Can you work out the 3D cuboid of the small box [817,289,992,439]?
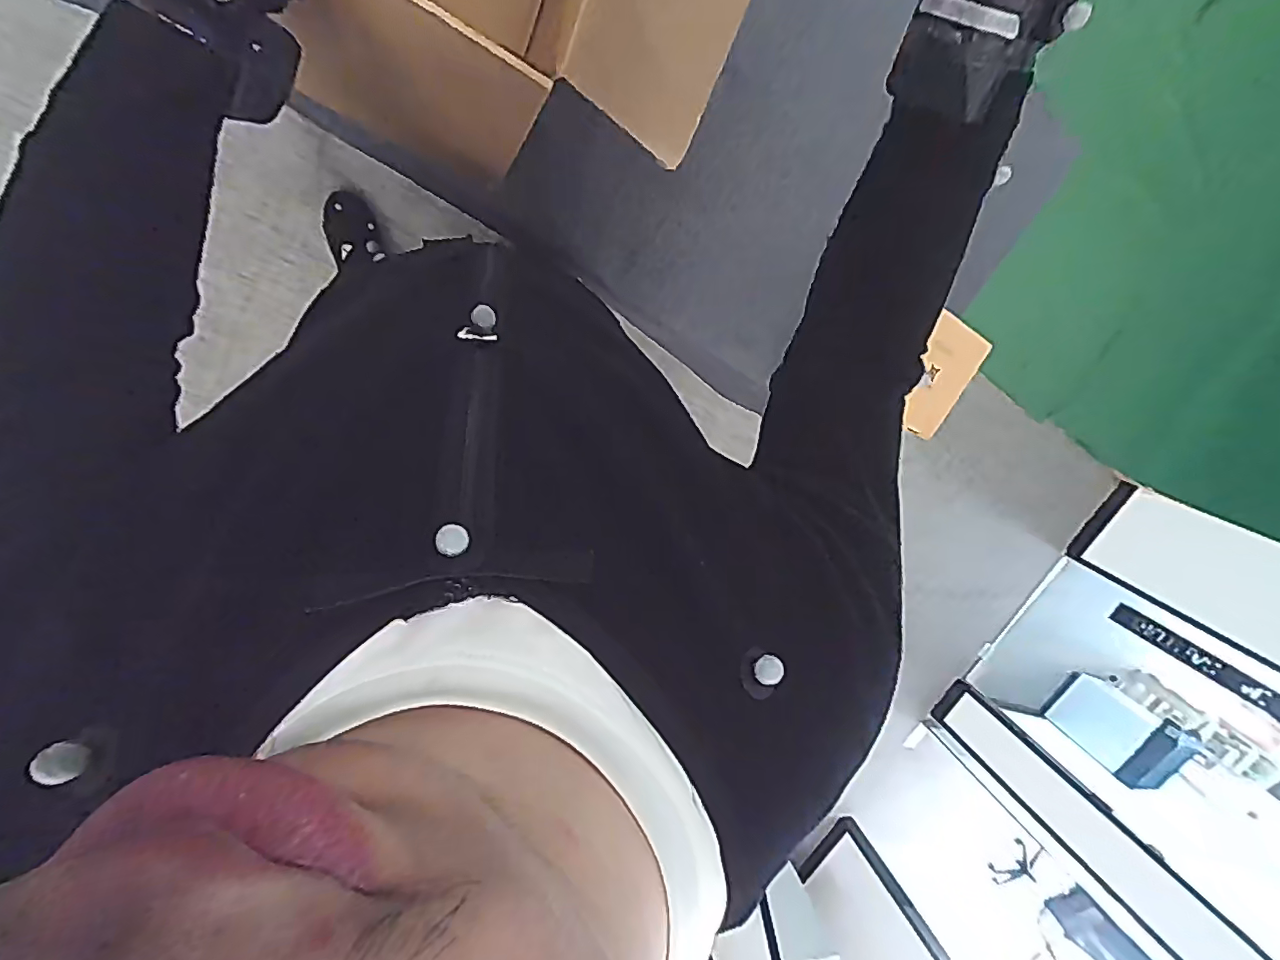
[{"bbox_3d":[0.430,-0.199,0.911,0.168,0.176,0.179,19,106,-29],"label":"small box"}]
